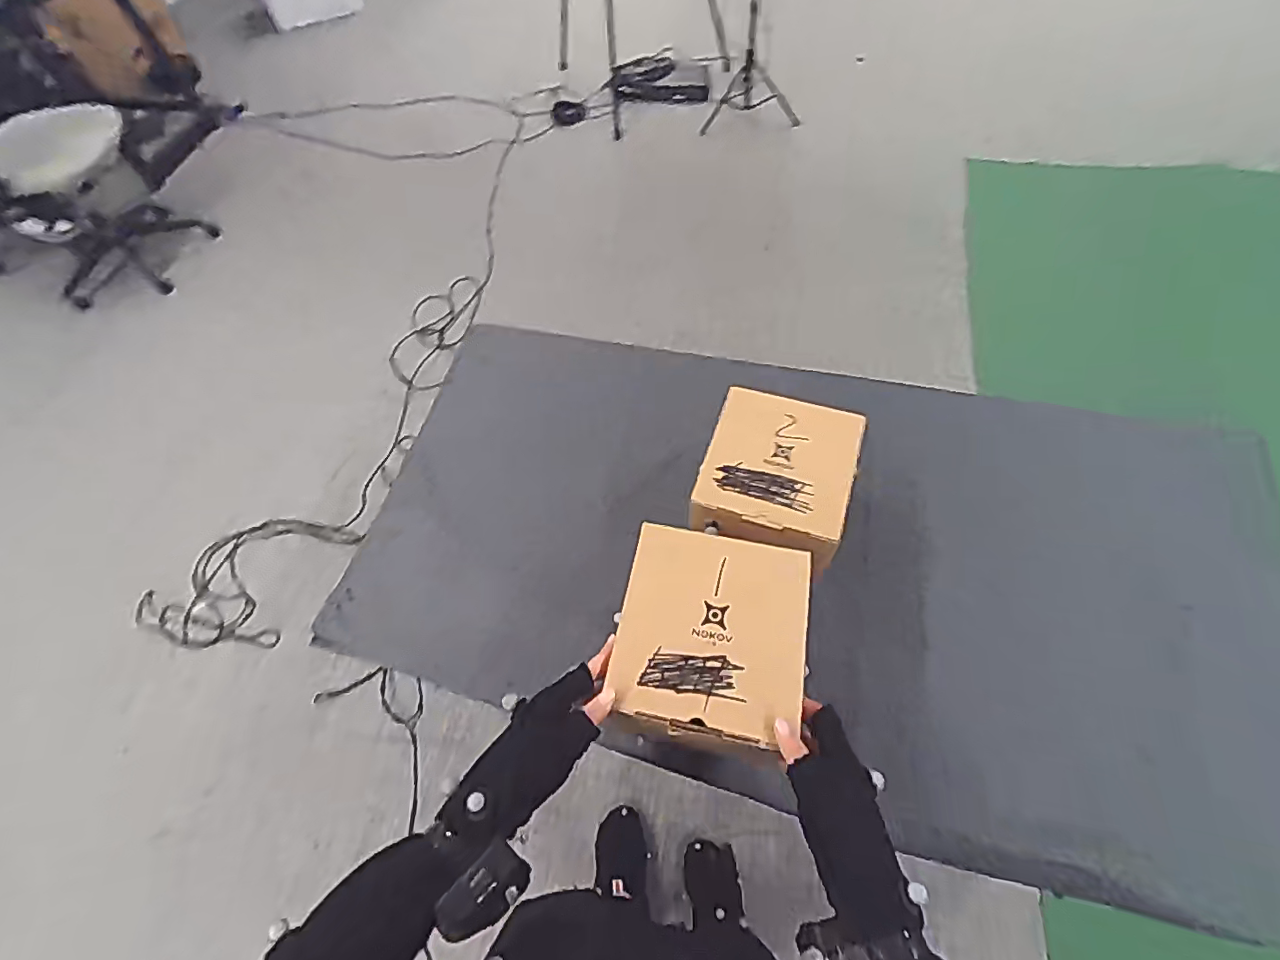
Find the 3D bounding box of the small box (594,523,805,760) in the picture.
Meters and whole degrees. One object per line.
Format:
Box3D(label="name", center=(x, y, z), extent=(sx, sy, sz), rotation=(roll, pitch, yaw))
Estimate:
Box3D(label="small box", center=(0.061, 0.169, 0.546), extent=(0.168, 0.176, 0.179), rotation=(10, 59, 7))
